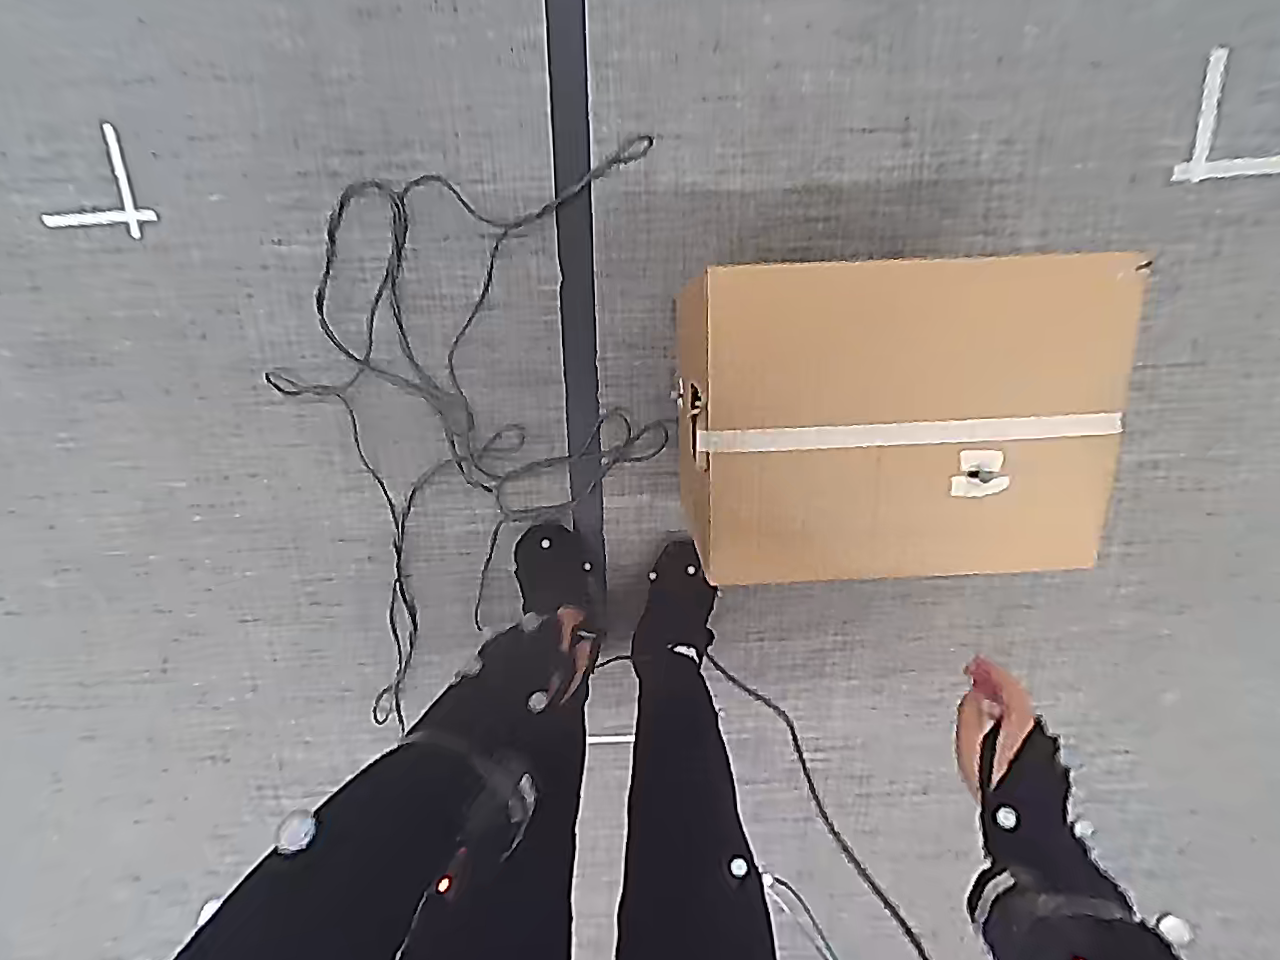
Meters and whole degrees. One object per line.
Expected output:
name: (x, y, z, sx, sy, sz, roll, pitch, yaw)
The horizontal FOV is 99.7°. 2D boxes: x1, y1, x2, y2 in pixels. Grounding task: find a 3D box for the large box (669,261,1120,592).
large box: (0.254, -0.078, 0.679, 0.408, 0.320, 0.320, -3, 105, -2)
